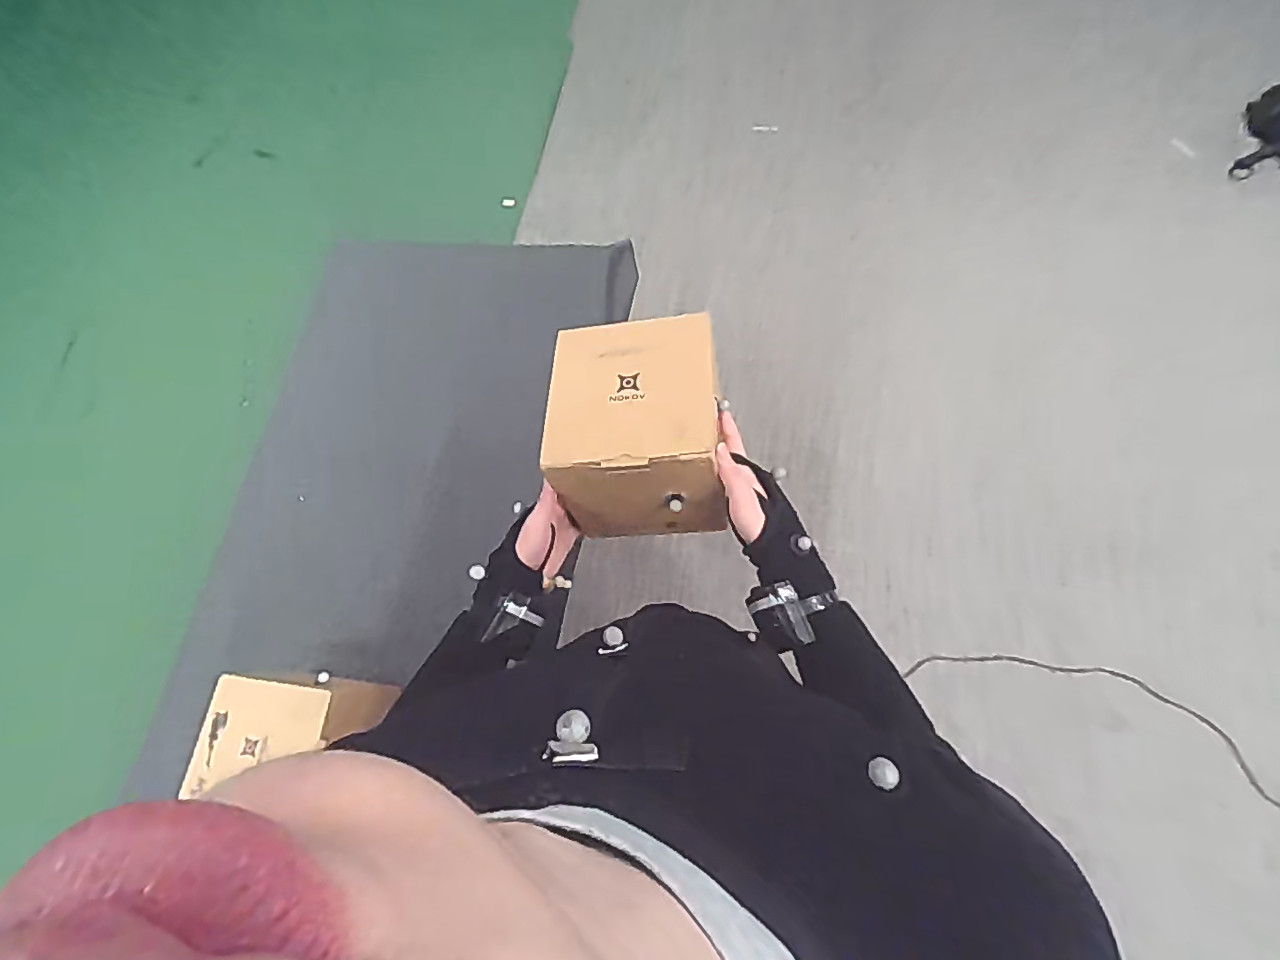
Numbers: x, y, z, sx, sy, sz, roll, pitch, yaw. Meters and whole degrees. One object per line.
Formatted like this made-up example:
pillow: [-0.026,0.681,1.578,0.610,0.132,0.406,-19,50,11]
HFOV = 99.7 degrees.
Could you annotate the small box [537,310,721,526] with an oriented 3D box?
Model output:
small box: [0.001,-0.056,0.598,0.168,0.176,0.179,-4,59,10]

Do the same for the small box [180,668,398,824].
small box: [-0.481,0.365,0.774,0.179,0.176,0.168,5,71,8]
